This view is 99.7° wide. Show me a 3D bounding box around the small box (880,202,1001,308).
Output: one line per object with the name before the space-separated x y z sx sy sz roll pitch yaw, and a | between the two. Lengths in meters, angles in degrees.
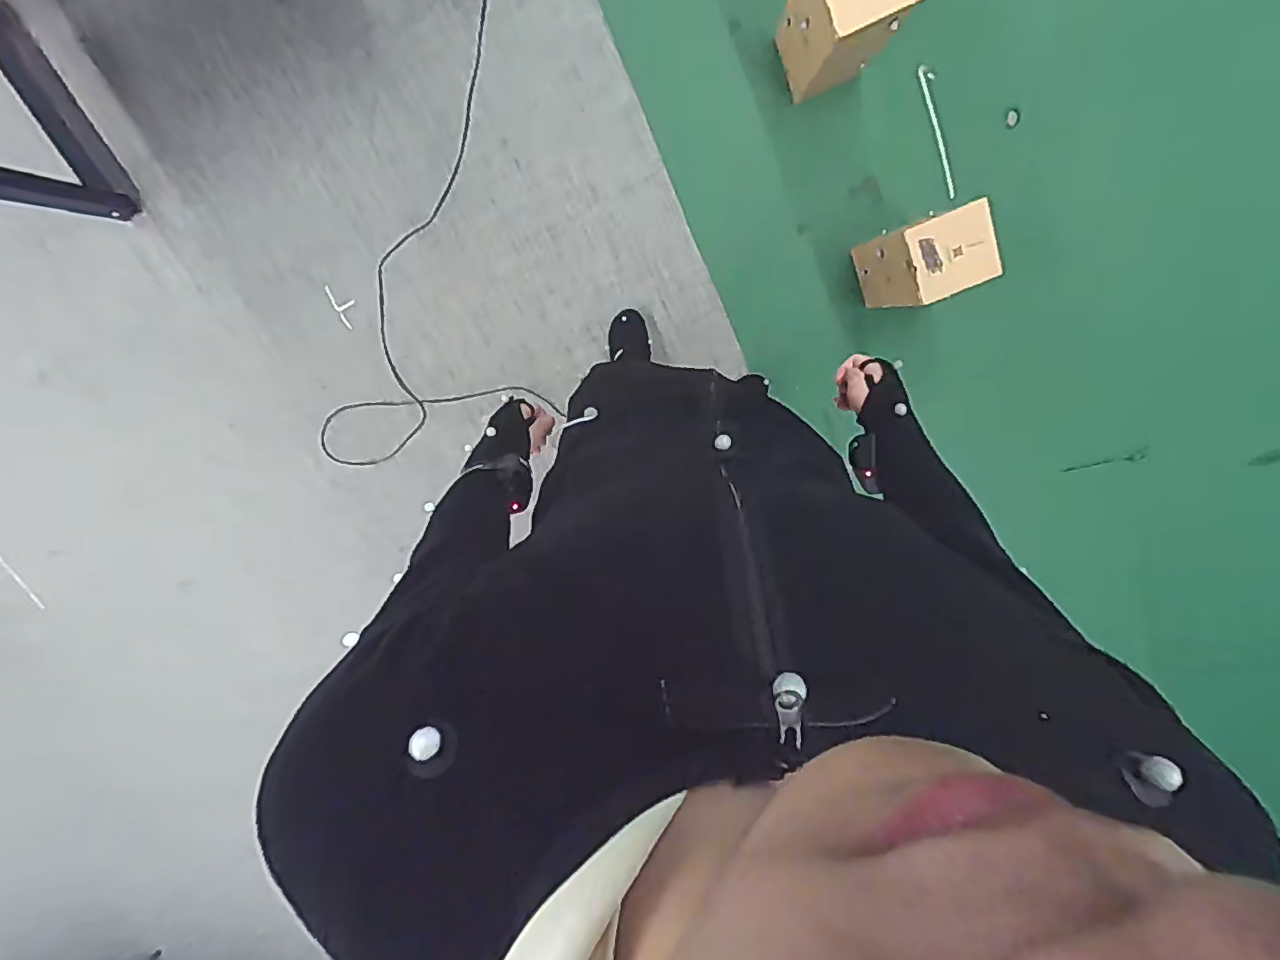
small box | 0.668 -0.497 1.225 0.179 0.176 0.168 -21 106 8

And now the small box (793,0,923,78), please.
small box | 0.432 -0.967 1.094 0.179 0.176 0.168 -21 104 7

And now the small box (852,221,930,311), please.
small box | 0.674 -0.545 1.381 0.179 0.176 0.168 -22 105 9
